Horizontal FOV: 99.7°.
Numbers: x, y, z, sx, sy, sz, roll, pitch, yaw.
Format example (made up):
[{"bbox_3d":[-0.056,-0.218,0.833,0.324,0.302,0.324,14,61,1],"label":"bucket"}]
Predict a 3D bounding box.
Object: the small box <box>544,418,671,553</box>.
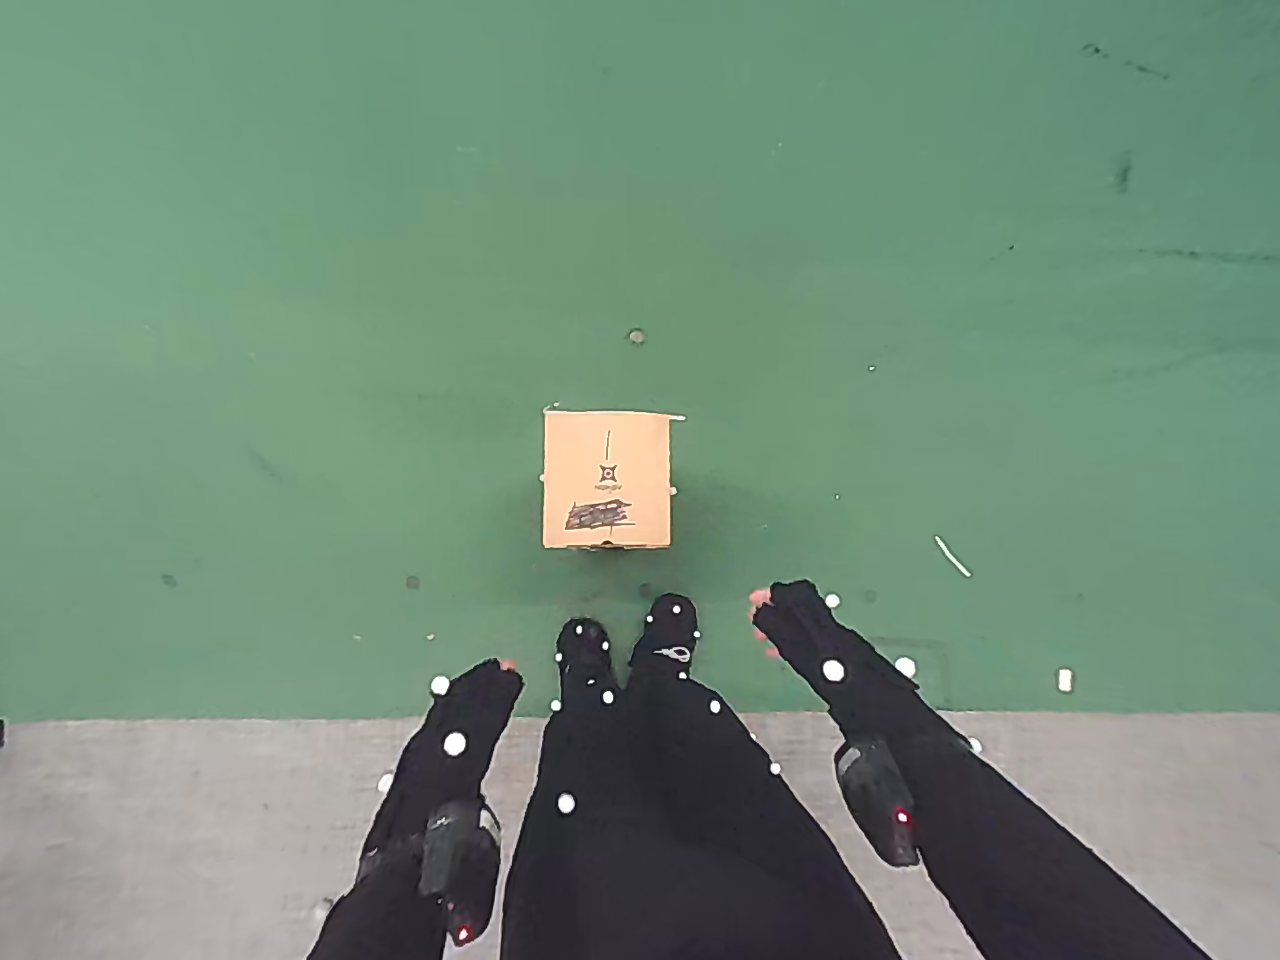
[{"bbox_3d":[-0.043,0.012,0.780,0.168,0.176,0.179,0,85,-3],"label":"small box"}]
